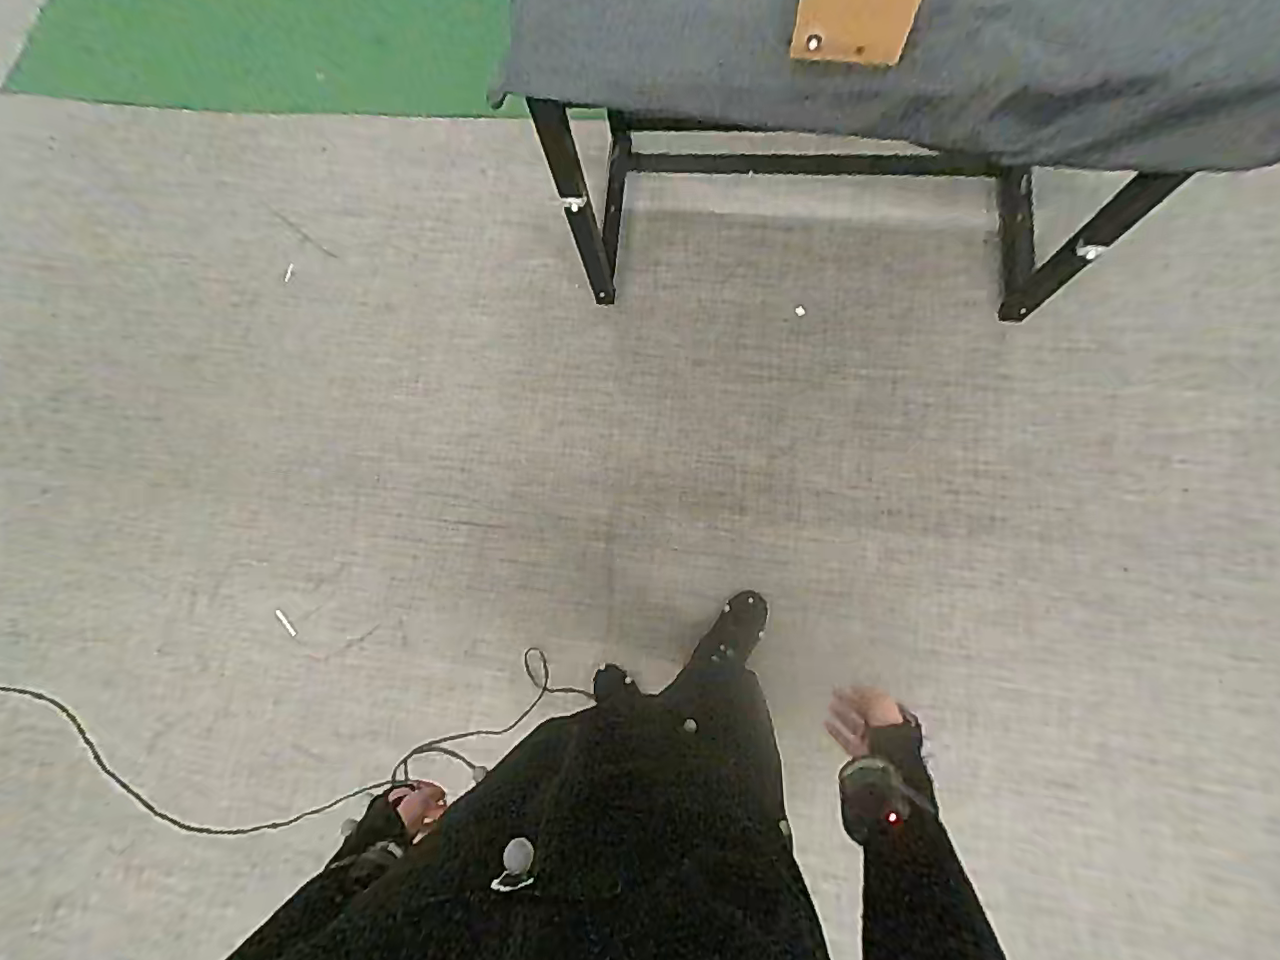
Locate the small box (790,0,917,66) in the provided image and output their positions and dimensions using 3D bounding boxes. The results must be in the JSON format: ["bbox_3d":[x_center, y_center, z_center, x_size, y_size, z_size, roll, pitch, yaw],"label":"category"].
[{"bbox_3d":[0.319,-0.742,0.779,0.168,0.176,0.179,10,77,8],"label":"small box"}]
